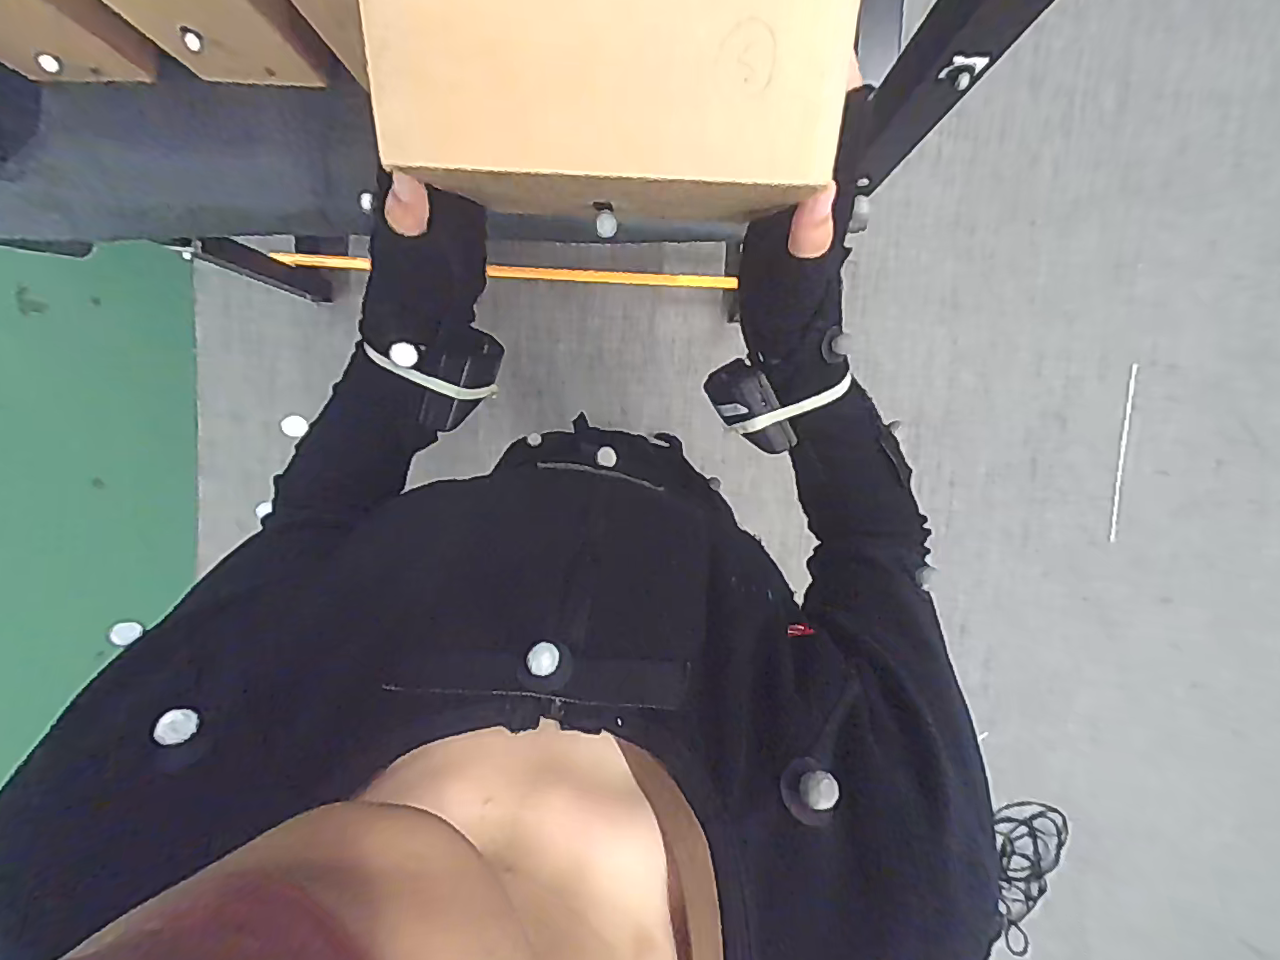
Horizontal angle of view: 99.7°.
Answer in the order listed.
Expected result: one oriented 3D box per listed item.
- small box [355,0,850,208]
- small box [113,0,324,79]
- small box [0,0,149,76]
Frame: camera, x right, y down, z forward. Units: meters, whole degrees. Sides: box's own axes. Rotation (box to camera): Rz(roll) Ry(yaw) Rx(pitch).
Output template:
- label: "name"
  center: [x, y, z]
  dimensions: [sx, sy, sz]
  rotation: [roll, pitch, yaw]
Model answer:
- label: "small box"
  center: [-0.009, -0.225, 0.237]
  dimensions: [0.168, 0.176, 0.179]
  rotation: [3, 112, -1]
- label: "small box"
  center: [-0.484, -0.597, 0.612]
  dimensions: [0.168, 0.176, 0.179]
  rotation: [3, 95, 0]
- label: "small box"
  center: [-0.711, -0.604, 0.611]
  dimensions: [0.168, 0.176, 0.179]
  rotation: [1, 96, 0]
